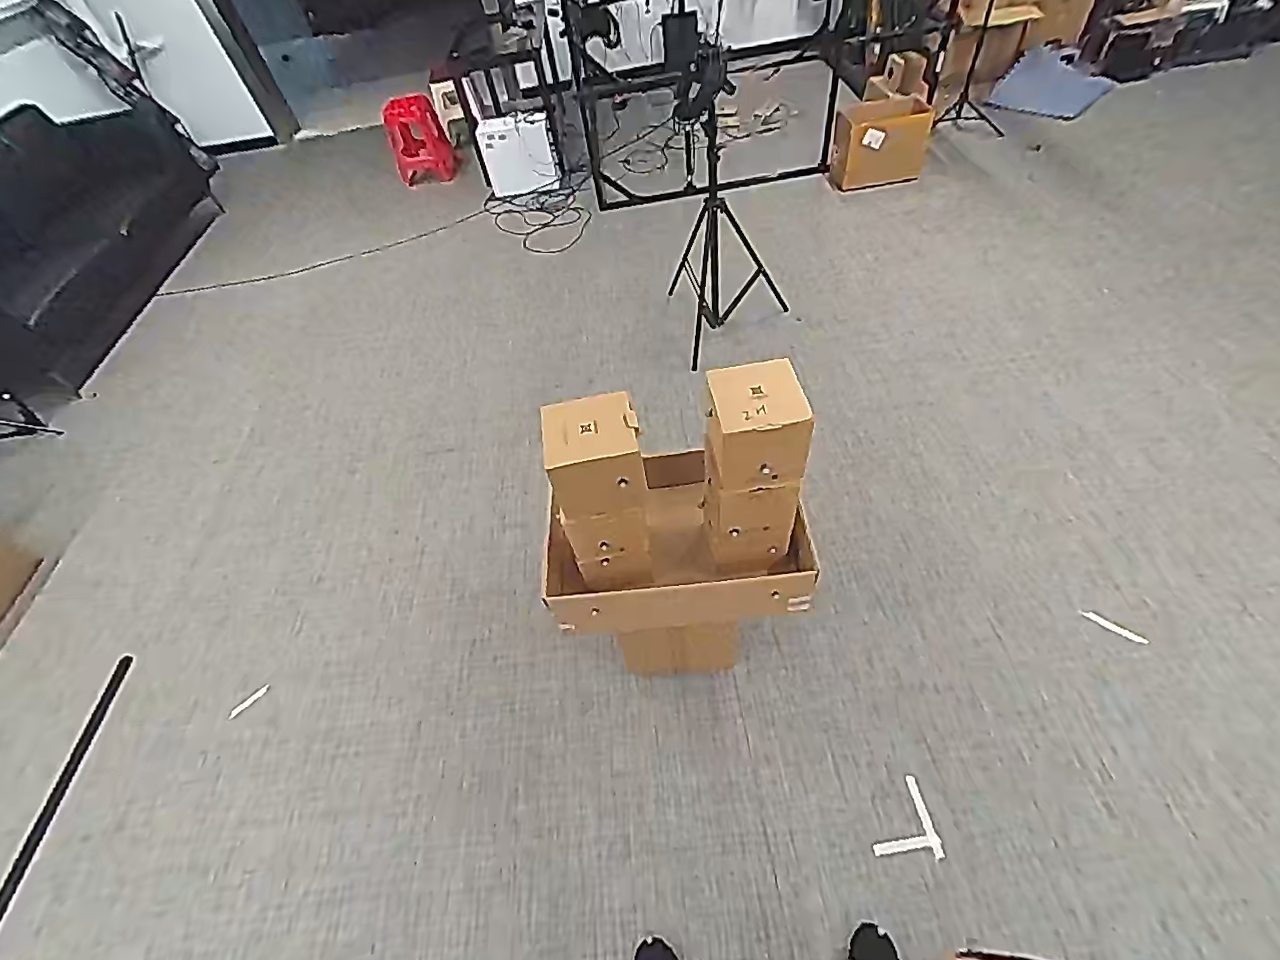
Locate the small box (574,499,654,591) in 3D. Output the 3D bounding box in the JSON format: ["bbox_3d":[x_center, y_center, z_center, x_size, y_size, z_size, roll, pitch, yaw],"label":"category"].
[{"bbox_3d":[-0.063,0.147,1.321,0.168,0.176,0.179,-10,51,3],"label":"small box"}]

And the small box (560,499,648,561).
[{"bbox_3d":[-0.081,0.053,1.191,0.168,0.176,0.179,-12,53,0],"label":"small box"}]

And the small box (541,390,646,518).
[{"bbox_3d":[-0.087,-0.047,1.060,0.179,0.176,0.168,-11,52,0],"label":"small box"}]

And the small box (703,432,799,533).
[{"bbox_3d":[0.236,0.002,1.178,0.168,0.176,0.179,-9,51,1],"label":"small box"}]

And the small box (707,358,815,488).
[{"bbox_3d":[0.224,-0.109,1.056,0.168,0.176,0.179,-9,52,1],"label":"small box"}]
